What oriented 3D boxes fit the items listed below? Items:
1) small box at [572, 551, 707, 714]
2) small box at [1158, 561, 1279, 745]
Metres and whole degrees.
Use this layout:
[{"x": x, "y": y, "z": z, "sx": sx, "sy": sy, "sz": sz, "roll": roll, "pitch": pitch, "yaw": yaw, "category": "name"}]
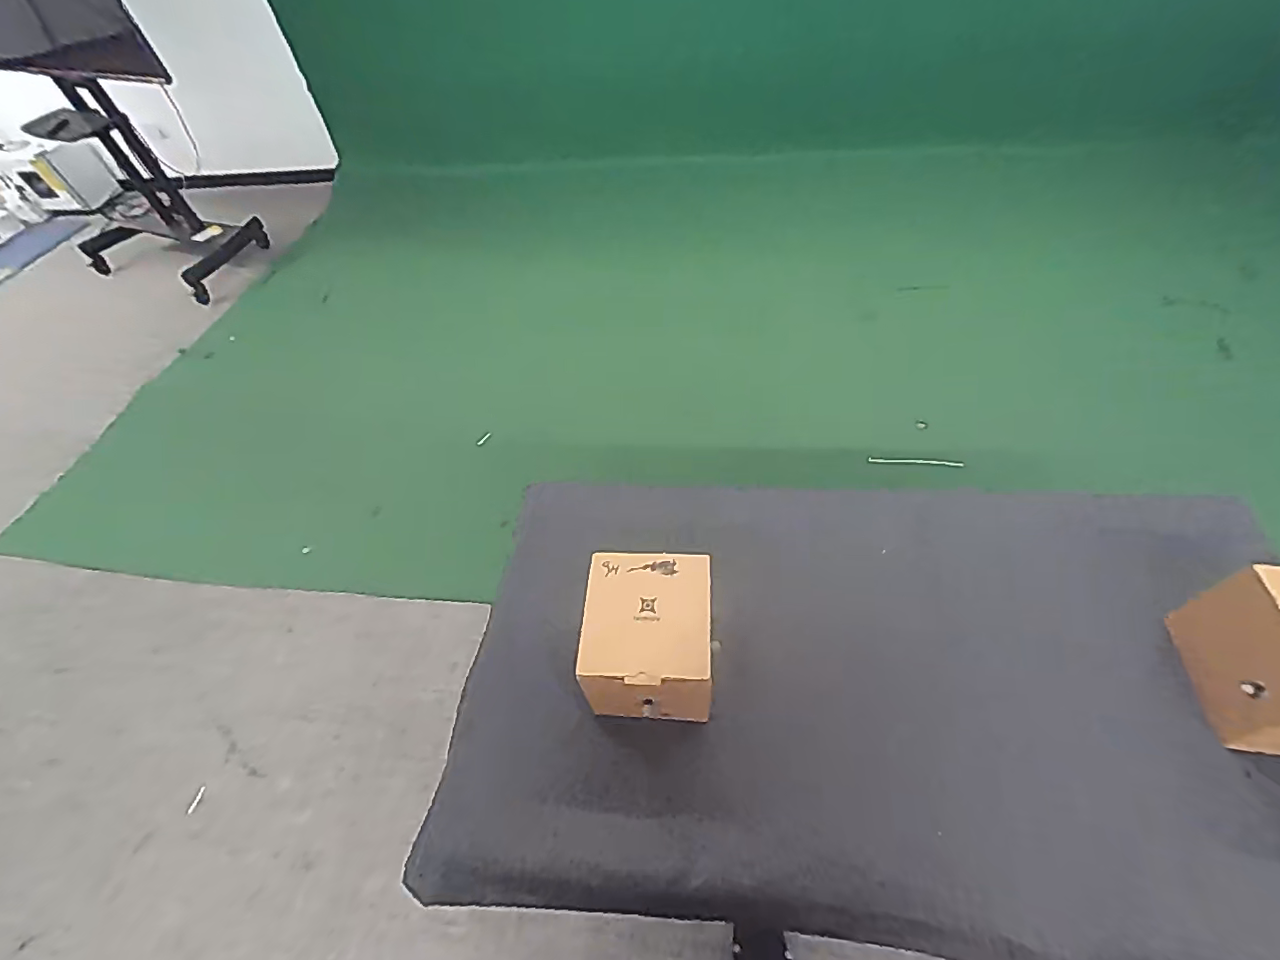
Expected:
[{"x": 0.011, "y": 0.218, "z": 0.760, "sx": 0.168, "sy": 0.176, "sz": 0.179, "roll": 1, "pitch": 52, "yaw": 6, "category": "small box"}, {"x": 0.813, "y": 0.222, "z": 0.665, "sx": 0.168, "sy": 0.176, "sz": 0.179, "roll": 4, "pitch": 51, "yaw": 8, "category": "small box"}]
